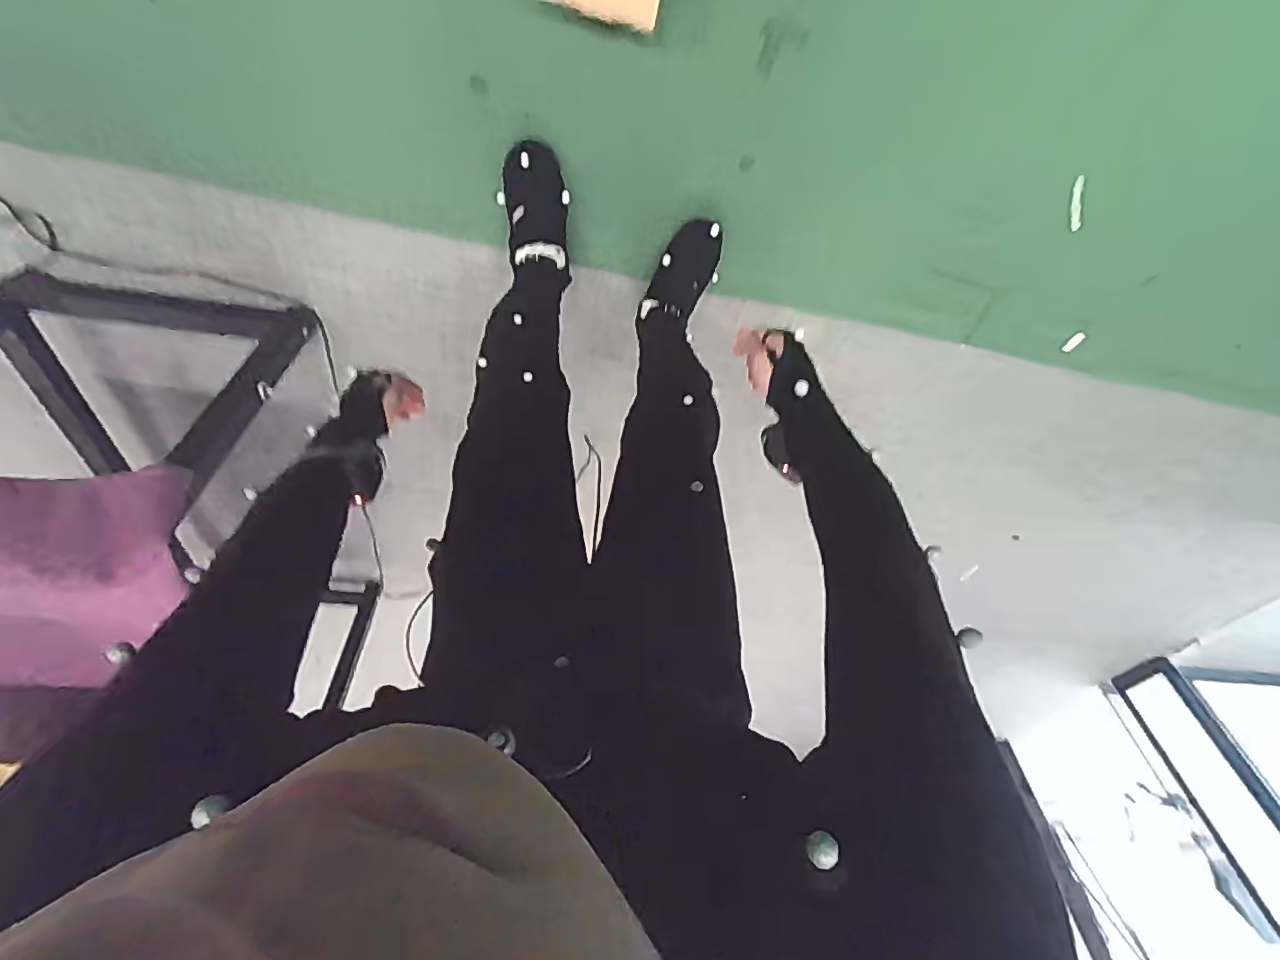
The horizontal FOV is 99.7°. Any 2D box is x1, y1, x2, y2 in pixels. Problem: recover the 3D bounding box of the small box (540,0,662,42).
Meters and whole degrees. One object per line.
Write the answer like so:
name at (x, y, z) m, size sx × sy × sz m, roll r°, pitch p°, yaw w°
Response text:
small box at (-0.043, -0.751, 0.750) m, size 0.168 × 0.176 × 0.179 m, roll 8°, pitch 135°, yaw -11°
